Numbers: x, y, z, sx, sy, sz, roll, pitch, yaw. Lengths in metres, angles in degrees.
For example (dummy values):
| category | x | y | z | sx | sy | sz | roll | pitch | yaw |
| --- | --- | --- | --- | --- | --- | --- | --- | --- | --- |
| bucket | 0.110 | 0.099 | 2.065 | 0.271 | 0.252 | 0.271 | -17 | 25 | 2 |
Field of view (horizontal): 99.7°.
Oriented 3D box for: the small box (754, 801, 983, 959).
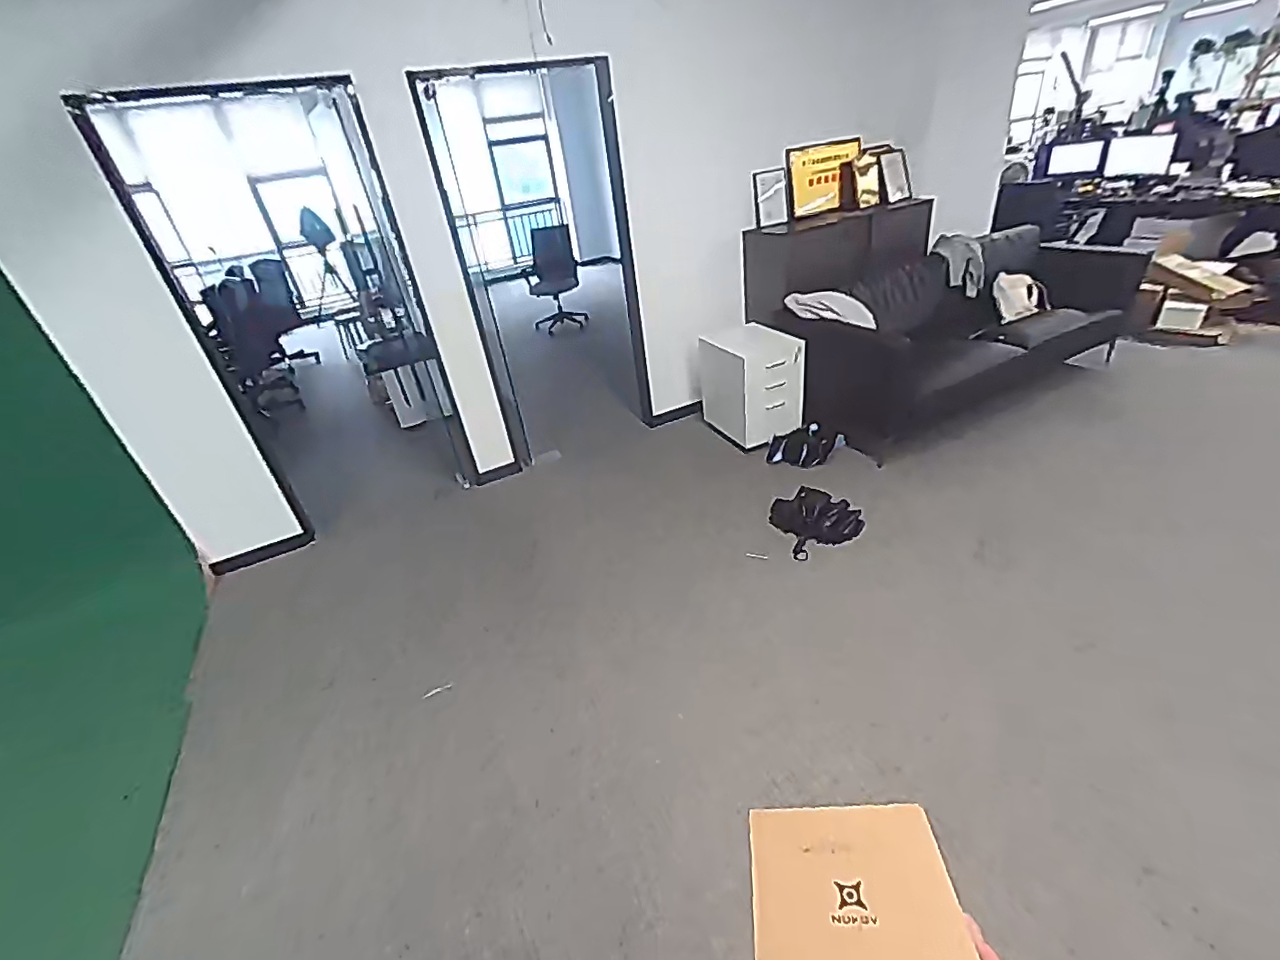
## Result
| category | x | y | z | sx | sy | sz | roll | pitch | yaw |
| --- | --- | --- | --- | --- | --- | --- | --- | --- | --- |
| small box | 0.196 | 0.422 | 0.475 | 0.168 | 0.176 | 0.179 | -8 | 17 | 12 |
